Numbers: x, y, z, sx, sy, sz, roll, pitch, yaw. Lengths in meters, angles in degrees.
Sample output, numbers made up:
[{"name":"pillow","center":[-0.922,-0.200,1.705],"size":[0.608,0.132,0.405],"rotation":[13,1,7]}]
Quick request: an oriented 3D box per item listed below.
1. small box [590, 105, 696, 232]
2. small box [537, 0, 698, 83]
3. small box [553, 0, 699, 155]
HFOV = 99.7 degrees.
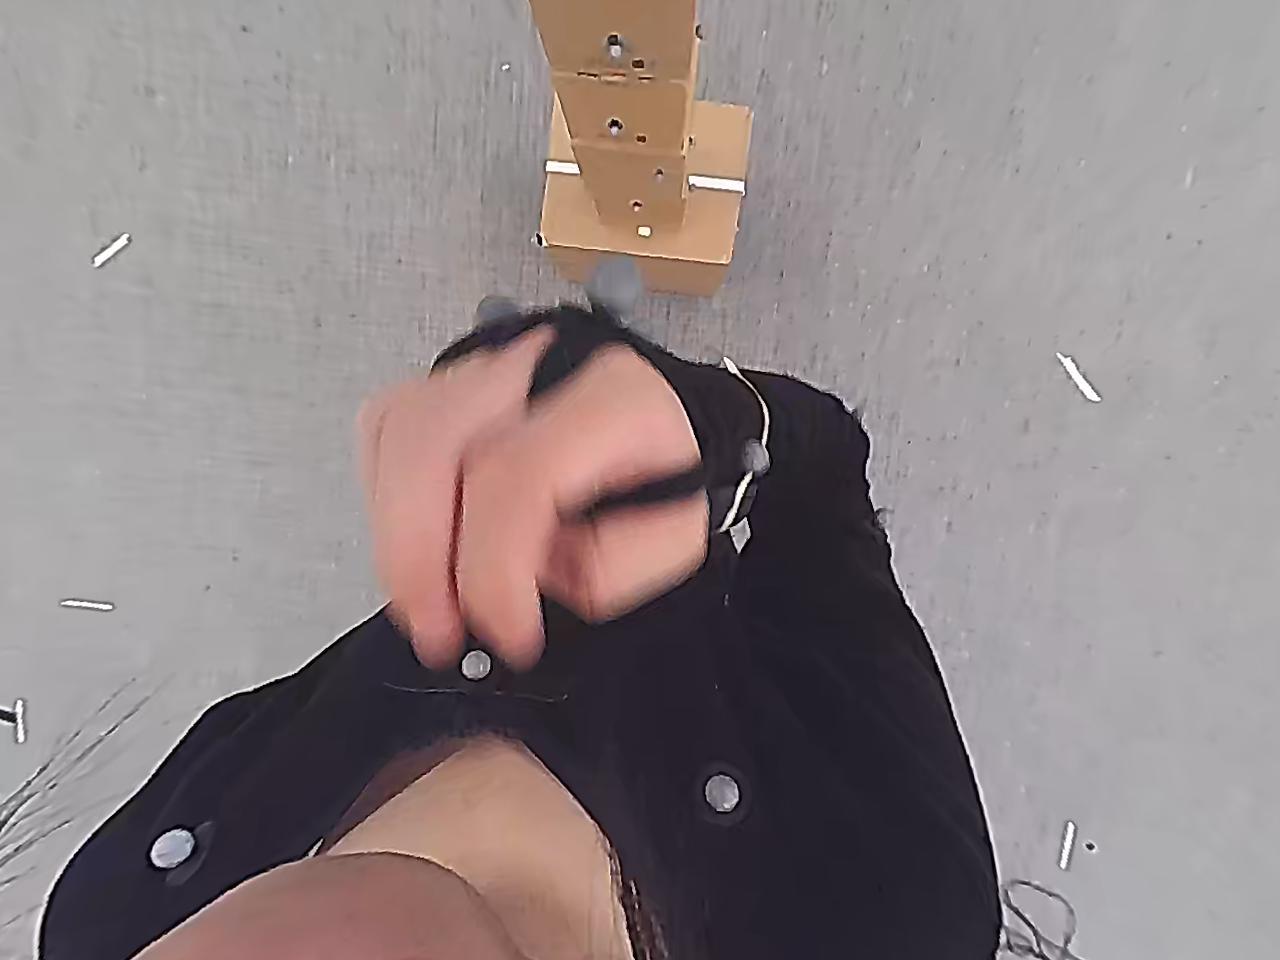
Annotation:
[{"name":"small box","center":[0.007,-0.589,1.031],"size":[0.179,0.176,0.168],"rotation":[5,98,1]},{"name":"small box","center":[-0.019,-0.546,0.543],"size":[0.168,0.176,0.179],"rotation":[4,98,2]},{"name":"small box","center":[-0.013,-0.563,0.707],"size":[0.168,0.176,0.179],"rotation":[5,98,1]}]
